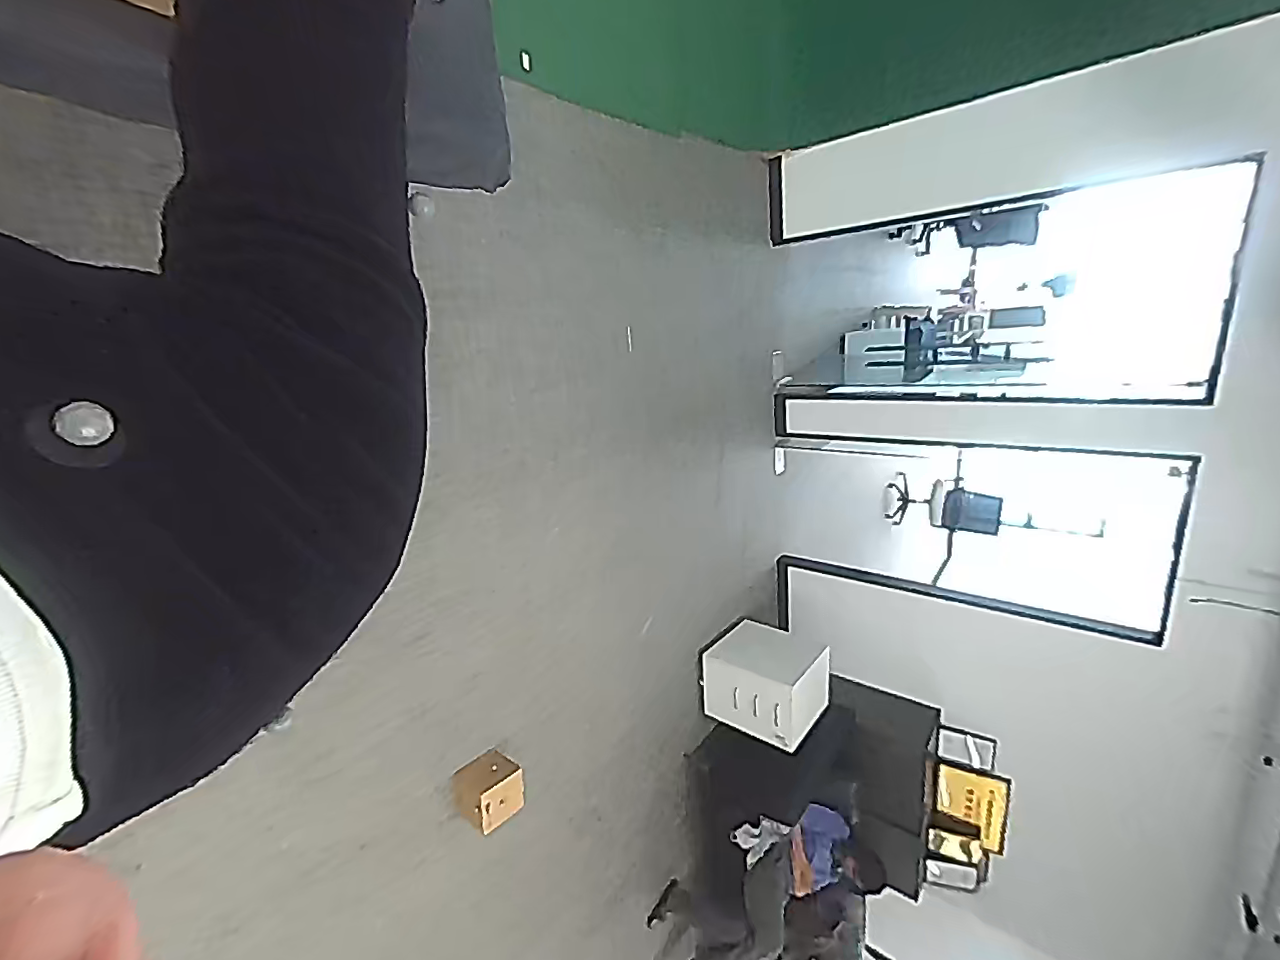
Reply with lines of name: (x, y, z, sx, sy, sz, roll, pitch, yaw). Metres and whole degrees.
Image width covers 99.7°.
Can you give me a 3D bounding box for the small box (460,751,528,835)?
small box: (-0.528, 1.122, 1.958, 0.179, 0.176, 0.168, -14, 108, -50)
